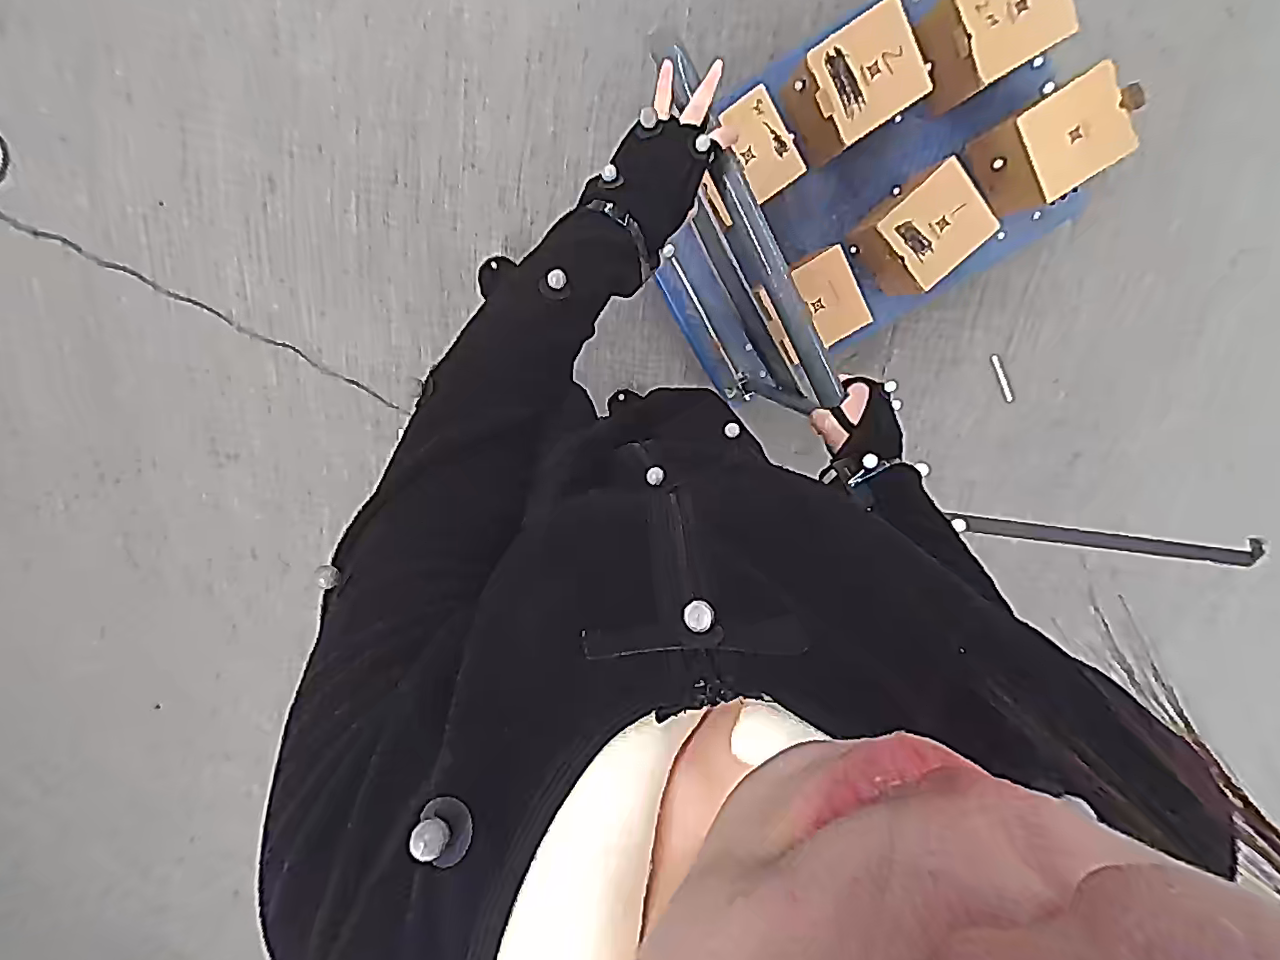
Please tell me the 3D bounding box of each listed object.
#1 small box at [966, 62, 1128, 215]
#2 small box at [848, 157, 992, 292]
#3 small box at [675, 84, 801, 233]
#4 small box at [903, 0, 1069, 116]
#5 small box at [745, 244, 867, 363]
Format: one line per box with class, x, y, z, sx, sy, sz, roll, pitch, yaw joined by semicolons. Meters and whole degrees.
small box;0.776;-0.649;1.056;0.179;0.176;0.168;-32;105;8
small box;0.549;-0.502;1.095;0.179;0.176;0.168;-41;104;10
small box;0.179;-0.606;1.051;0.179;0.176;0.168;-33;107;9
small box;0.626;-0.820;0.996;0.179;0.176;0.168;-28;106;8
small box;0.334;-0.365;1.133;0.179;0.176;0.168;-29;106;7
